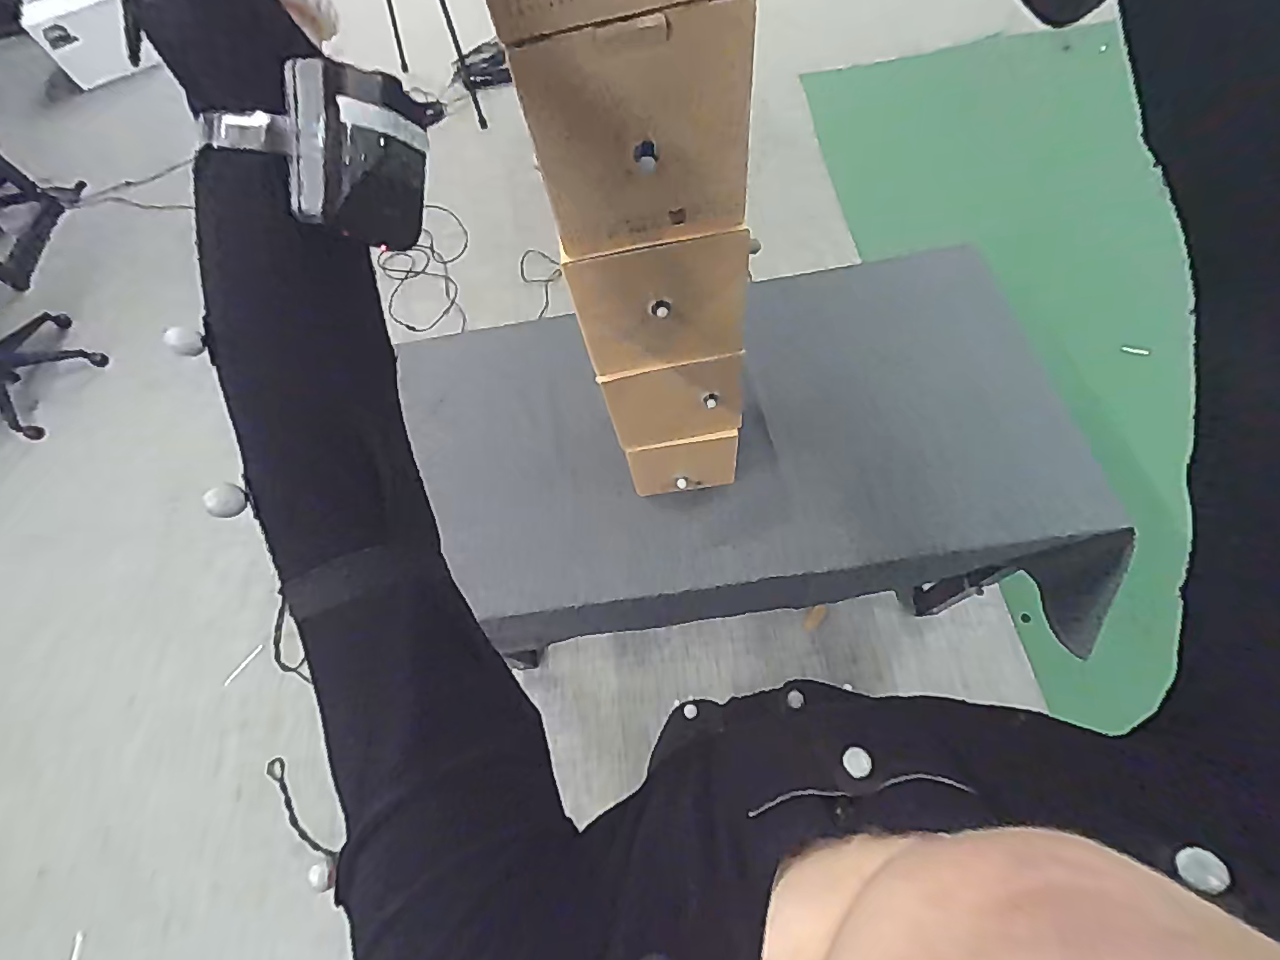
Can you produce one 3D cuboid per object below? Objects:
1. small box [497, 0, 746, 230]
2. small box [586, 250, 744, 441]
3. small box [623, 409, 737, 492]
[{"bbox_3d":[-0.009,-0.333,0.447,0.168,0.176,0.179,-10,63,3],"label":"small box"},{"bbox_3d":[0.033,-0.172,0.728,0.179,0.176,0.168,-10,63,3],"label":"small box"},{"bbox_3d":[0.057,-0.099,0.872,0.168,0.176,0.179,-8,64,4],"label":"small box"}]
